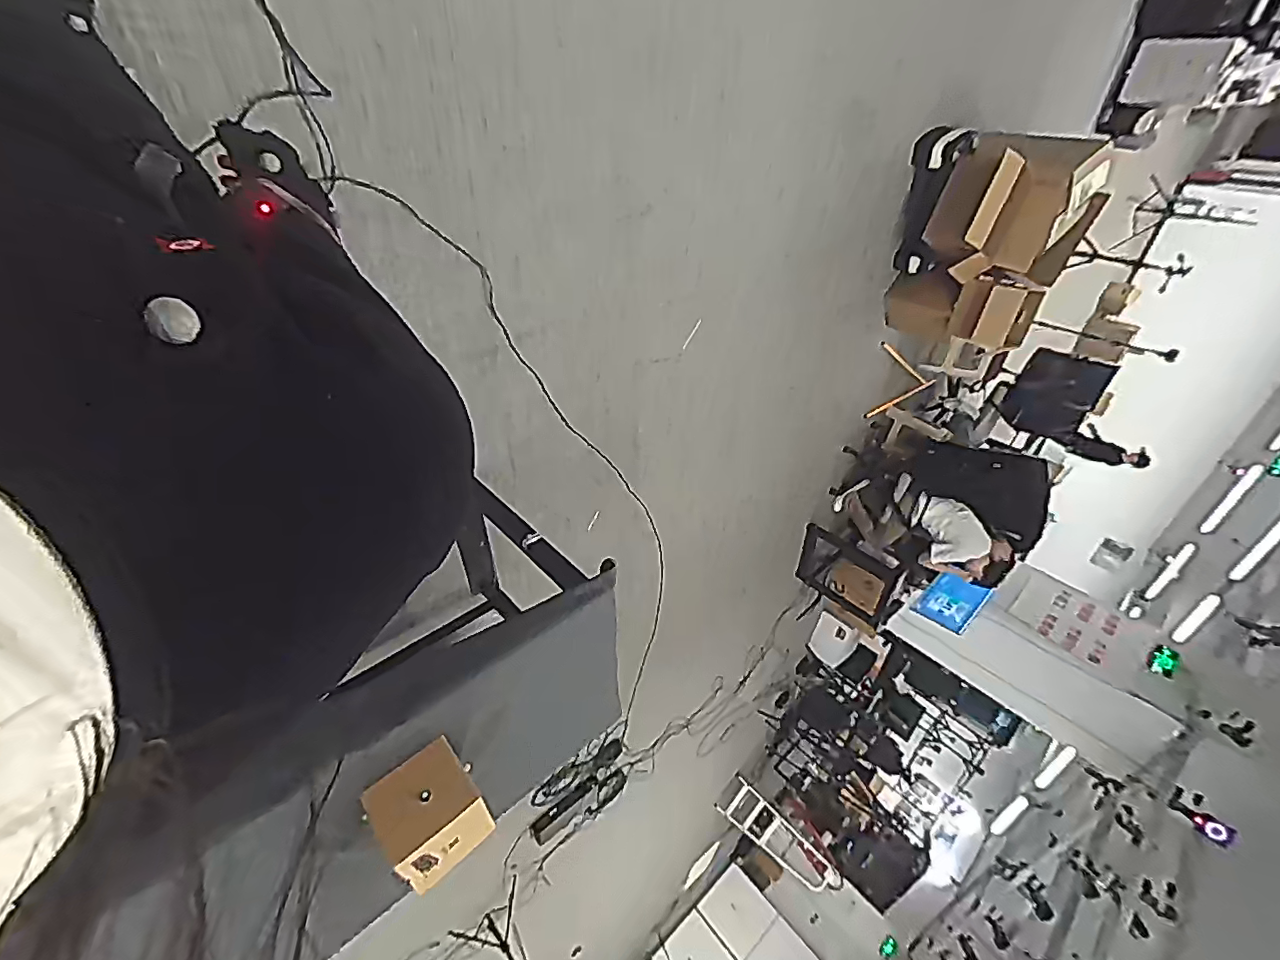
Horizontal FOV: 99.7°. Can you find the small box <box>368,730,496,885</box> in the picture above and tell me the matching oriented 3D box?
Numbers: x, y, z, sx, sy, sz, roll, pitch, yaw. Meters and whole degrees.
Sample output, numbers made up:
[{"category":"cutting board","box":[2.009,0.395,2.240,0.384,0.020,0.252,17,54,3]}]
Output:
[{"category":"small box","box":[-0.423,0.655,1.094,0.179,0.176,0.168,-31,138,-32]}]
